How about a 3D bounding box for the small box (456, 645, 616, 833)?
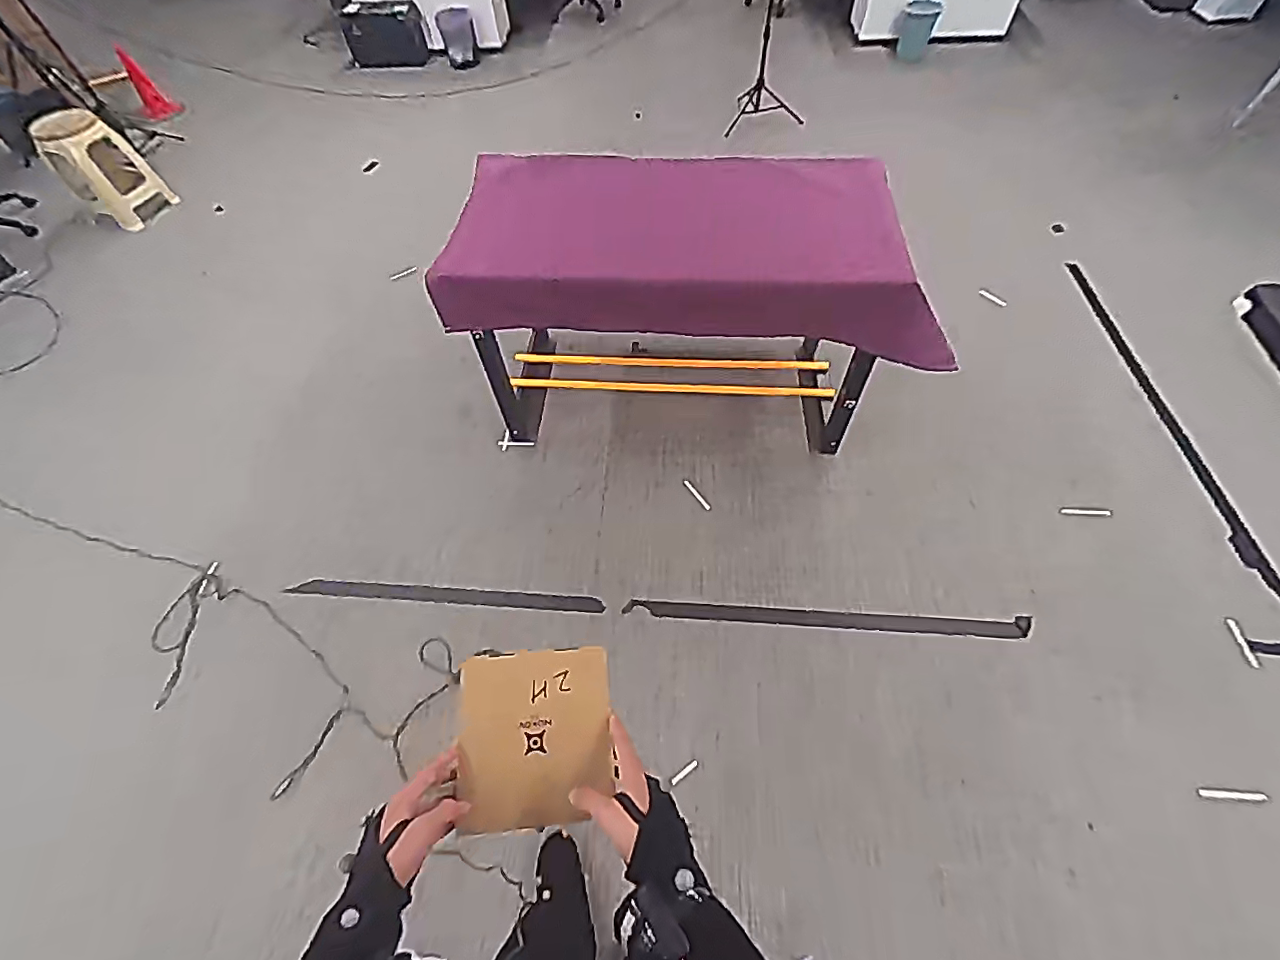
[{"bbox_3d":[-0.116,0.305,0.655,0.168,0.176,0.179,-2,65,-7],"label":"small box"}]
